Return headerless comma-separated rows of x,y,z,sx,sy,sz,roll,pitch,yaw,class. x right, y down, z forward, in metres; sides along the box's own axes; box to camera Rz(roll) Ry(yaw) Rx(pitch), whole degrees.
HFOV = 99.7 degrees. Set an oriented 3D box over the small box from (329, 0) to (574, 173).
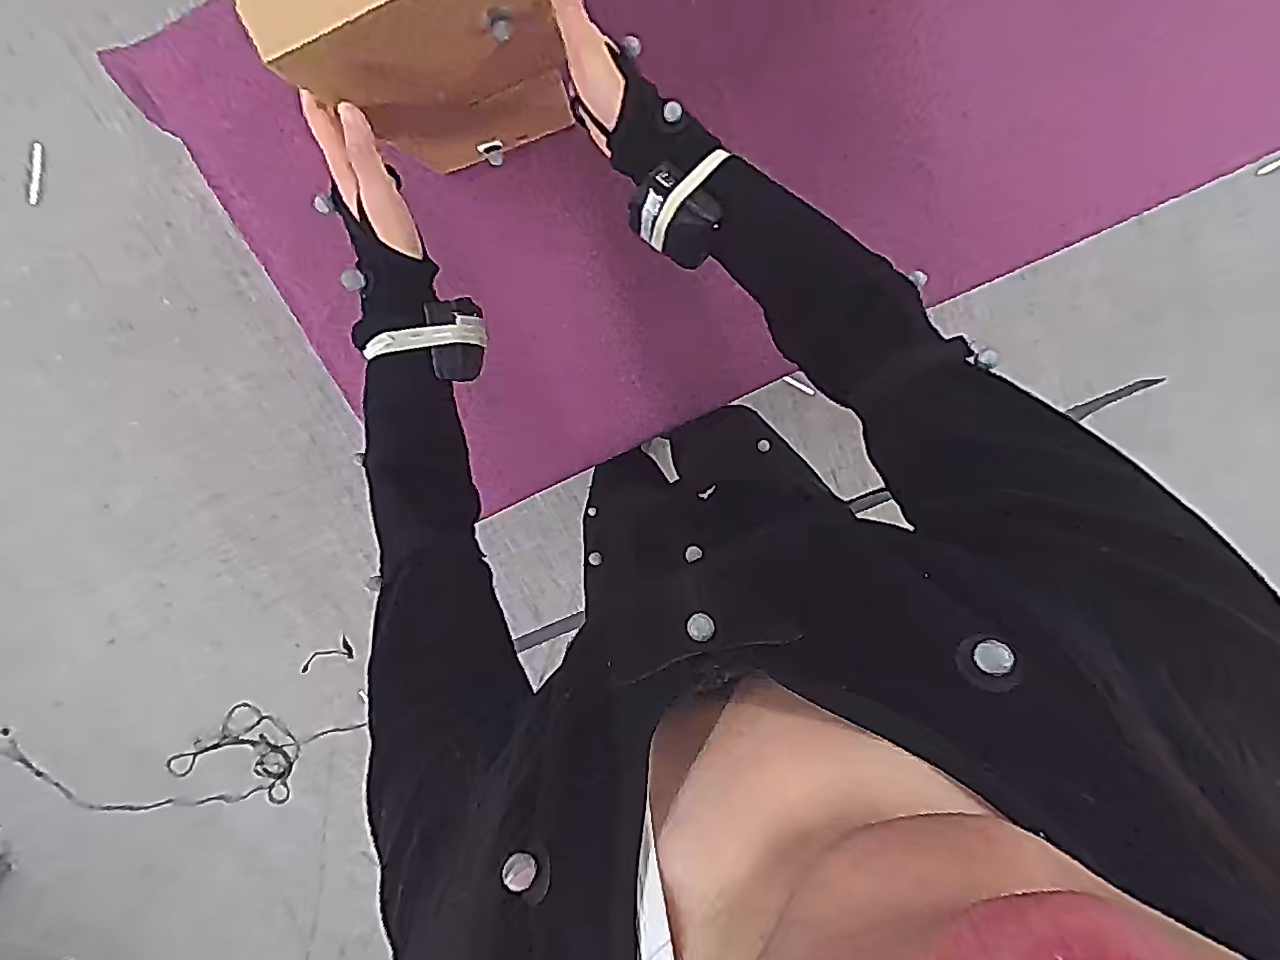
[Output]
-0.173,-0.425,0.514,0.168,0.176,0.179,-19,110,6,small box
